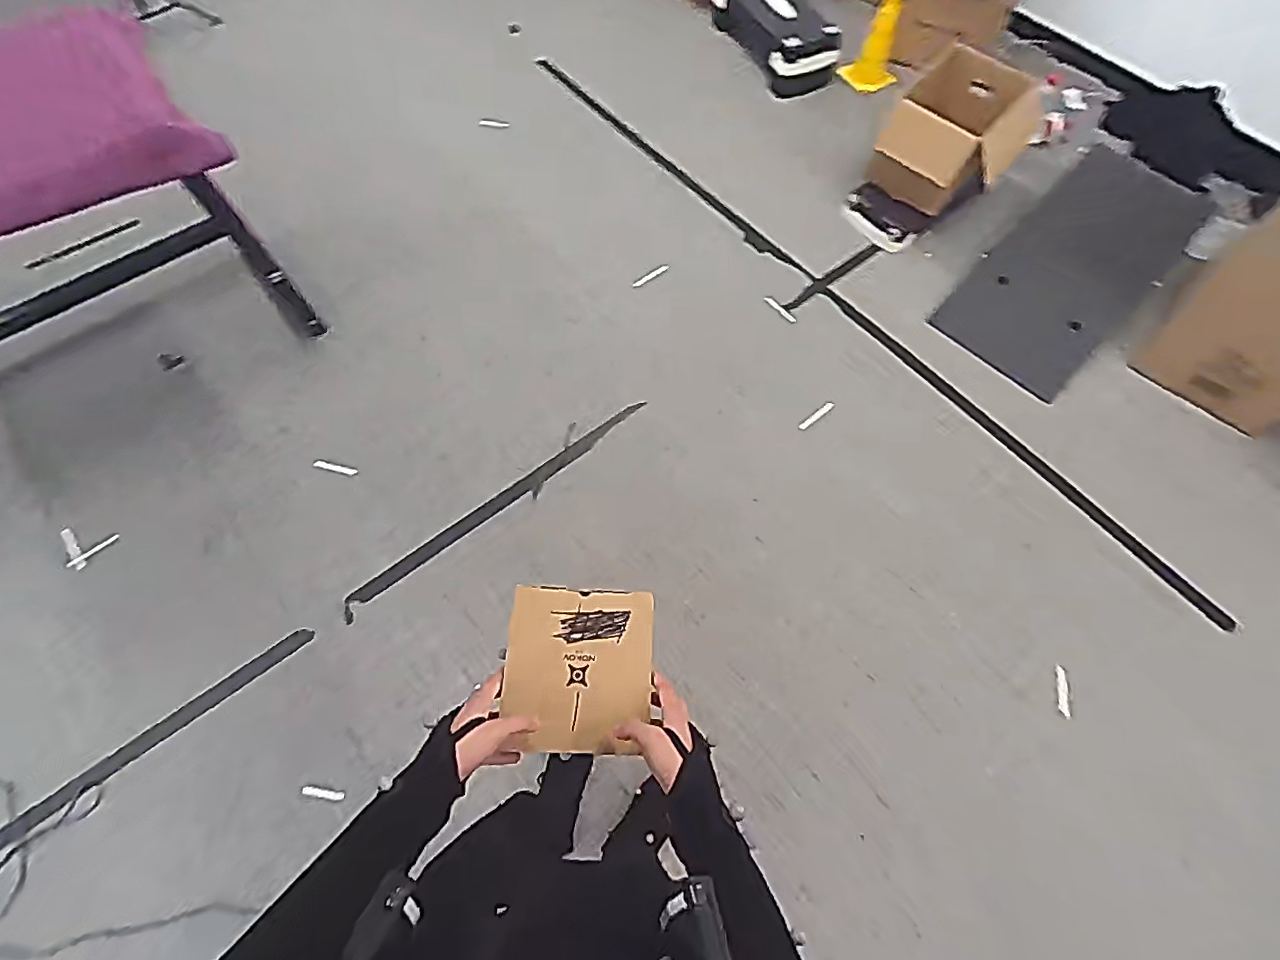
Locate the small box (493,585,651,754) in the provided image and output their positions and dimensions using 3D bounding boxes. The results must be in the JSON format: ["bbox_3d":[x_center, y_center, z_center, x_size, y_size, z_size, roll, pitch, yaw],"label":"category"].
[{"bbox_3d":[-0.083,0.238,0.679,0.168,0.176,0.179,5,68,-6],"label":"small box"}]
